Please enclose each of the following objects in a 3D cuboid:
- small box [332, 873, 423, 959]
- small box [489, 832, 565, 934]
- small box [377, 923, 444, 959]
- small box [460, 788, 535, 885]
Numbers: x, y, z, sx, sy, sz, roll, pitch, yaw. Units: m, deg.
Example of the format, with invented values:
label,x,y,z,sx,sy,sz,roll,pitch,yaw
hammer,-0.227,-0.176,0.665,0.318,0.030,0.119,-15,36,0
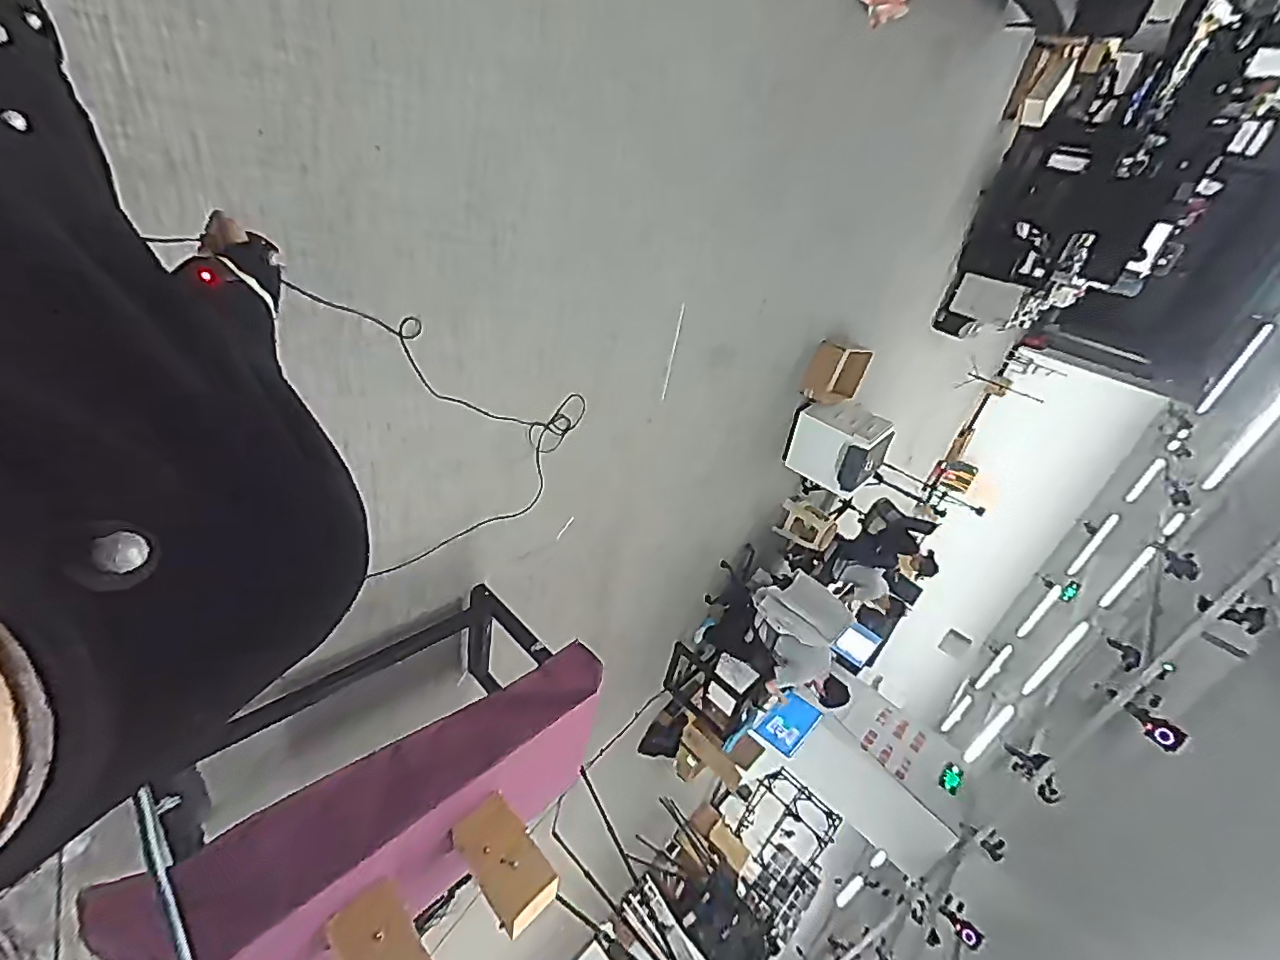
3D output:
label,x,y,z,sx,sy,sz,roll,pitch,yaw
small box,-0.727,1.253,1.504,0.179,0.176,0.168,-20,134,-43
small box,-0.358,1.251,1.689,0.168,0.176,0.179,-25,138,-40
small box,-0.614,1.332,1.416,0.179,0.176,0.168,-22,134,-44
small box,-0.468,1.161,1.773,0.179,0.176,0.168,-24,137,-39
